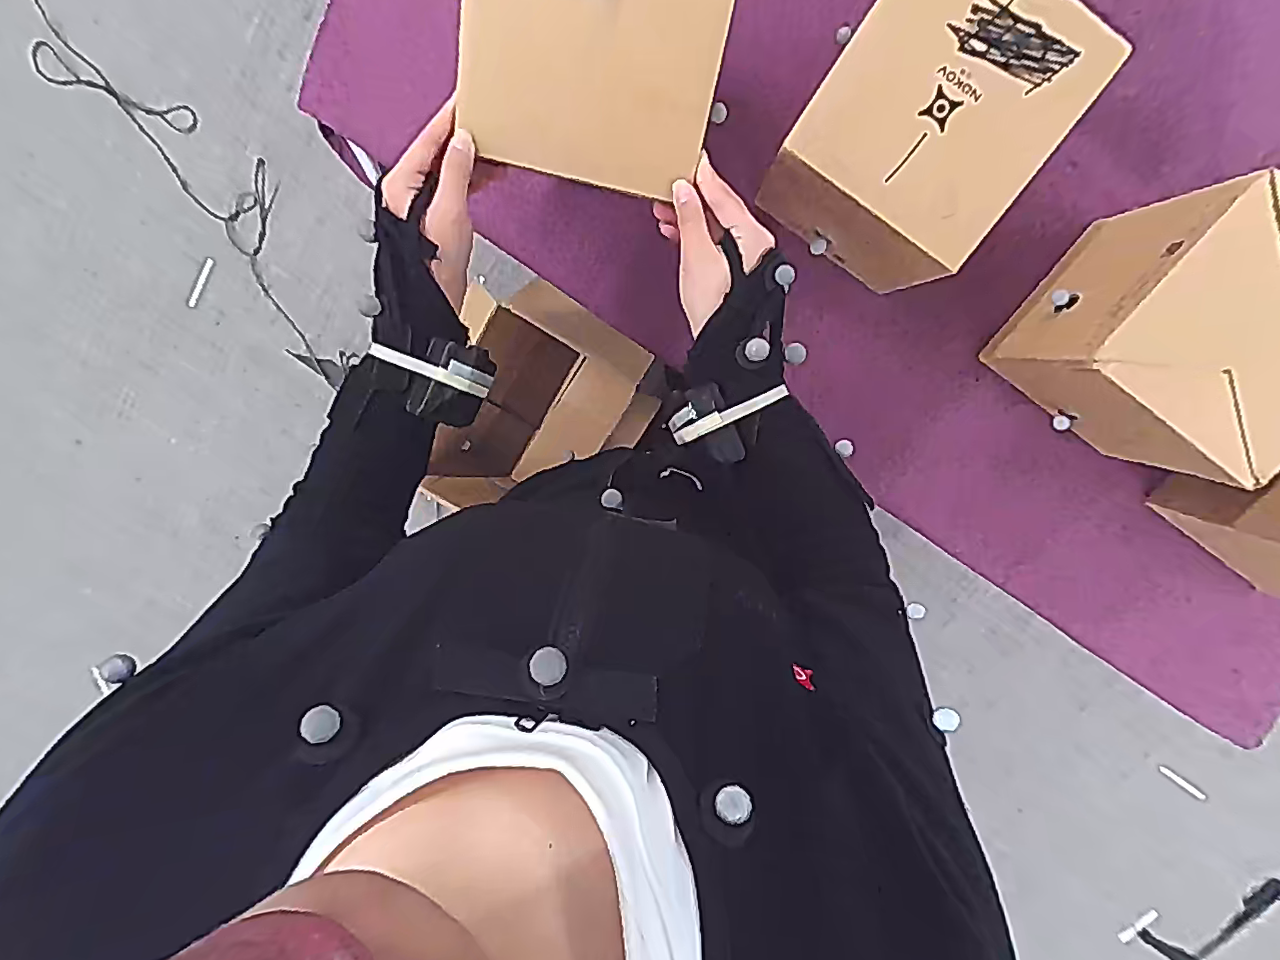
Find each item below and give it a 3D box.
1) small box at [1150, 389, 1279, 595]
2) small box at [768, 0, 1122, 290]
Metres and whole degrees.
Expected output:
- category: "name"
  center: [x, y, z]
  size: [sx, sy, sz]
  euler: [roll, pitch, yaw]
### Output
- category: "small box"
  center: [0.660, 0.026, 0.502]
  size: [0.179, 0.176, 0.168]
  euler: [36, 101, -4]
- category: "small box"
  center: [0.230, -0.290, 0.469]
  size: [0.168, 0.176, 0.179]
  euler: [34, 104, -3]
